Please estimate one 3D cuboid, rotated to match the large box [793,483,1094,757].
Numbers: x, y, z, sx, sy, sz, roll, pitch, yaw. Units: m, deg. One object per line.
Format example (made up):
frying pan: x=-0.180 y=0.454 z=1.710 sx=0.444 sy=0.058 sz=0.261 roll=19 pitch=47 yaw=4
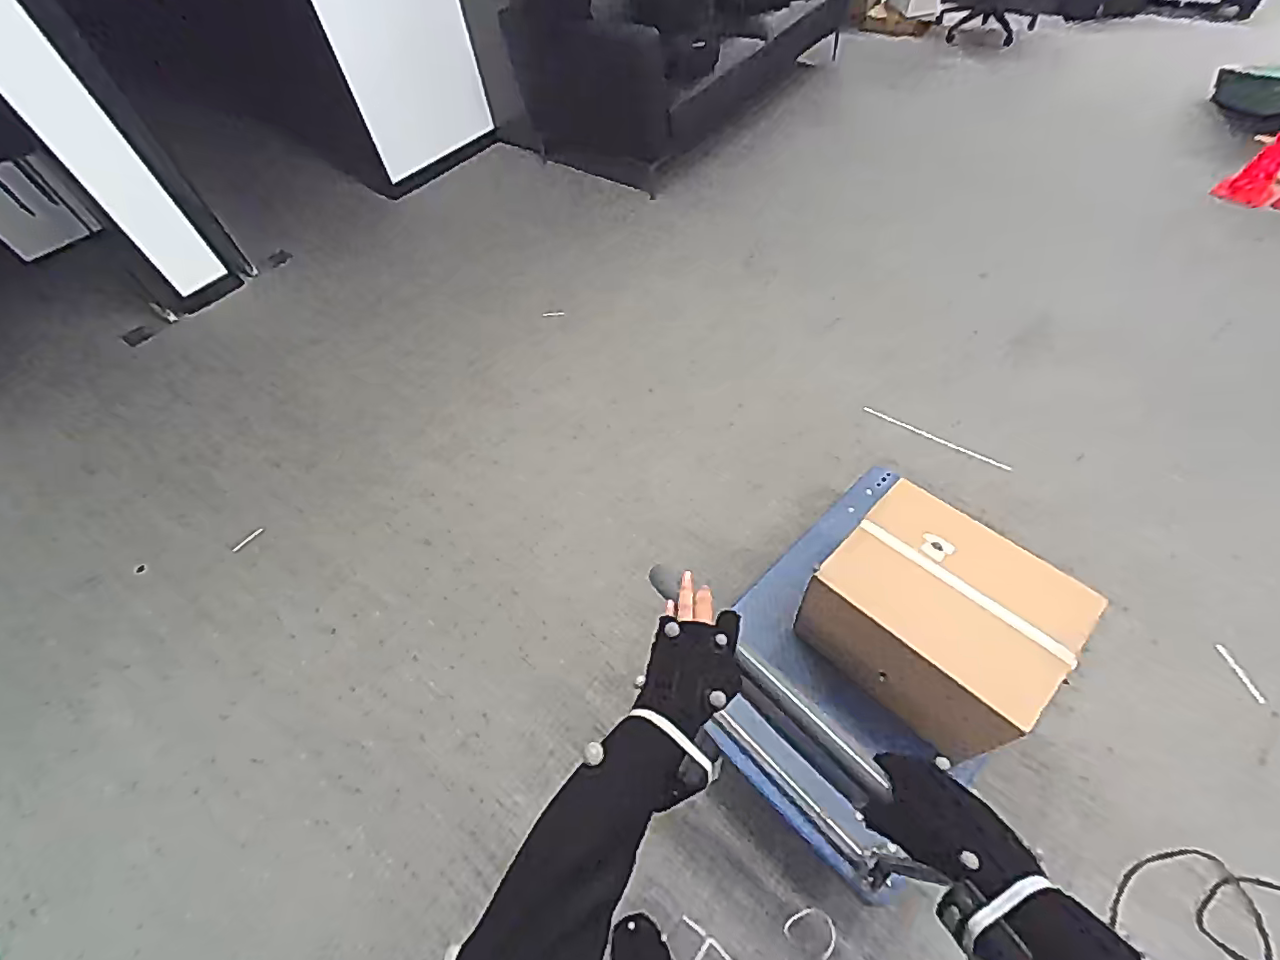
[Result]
large box: x=0.588 y=0.289 z=1.127 sx=0.320 sy=0.320 sz=0.408 roll=-40 pitch=58 yaw=-20
